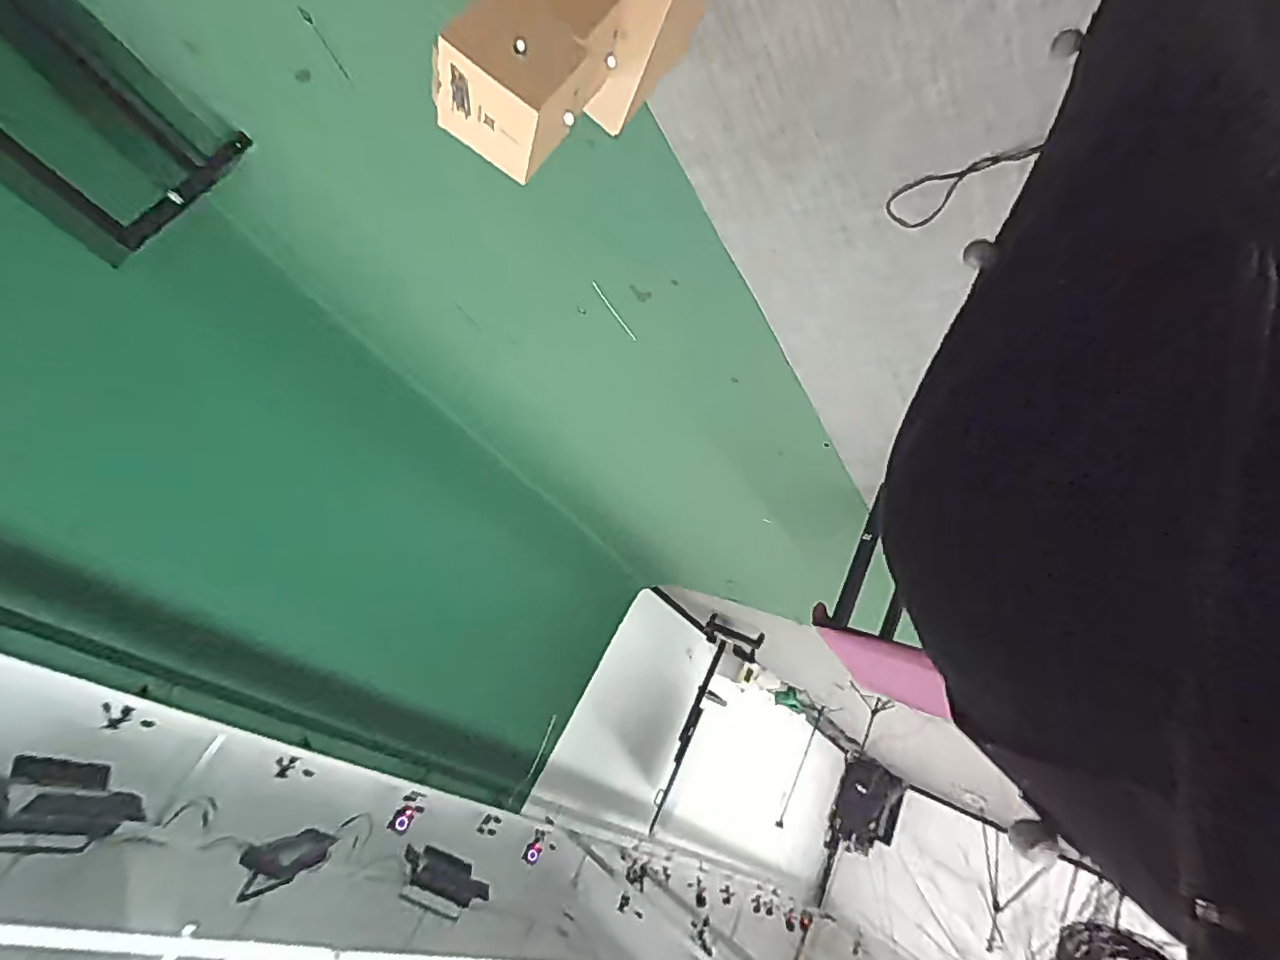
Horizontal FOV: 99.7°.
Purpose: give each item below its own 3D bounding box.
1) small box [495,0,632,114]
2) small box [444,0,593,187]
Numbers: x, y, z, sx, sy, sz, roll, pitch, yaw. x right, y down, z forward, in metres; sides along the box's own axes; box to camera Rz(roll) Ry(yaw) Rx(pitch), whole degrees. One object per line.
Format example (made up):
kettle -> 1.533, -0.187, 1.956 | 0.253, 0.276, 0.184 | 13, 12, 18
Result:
small box -> -0.141, -0.796, 0.969 | 0.179, 0.176, 0.168 | 32, 160, -6
small box -> -0.208, -0.656, 0.914 | 0.179, 0.176, 0.168 | 33, 160, -11
